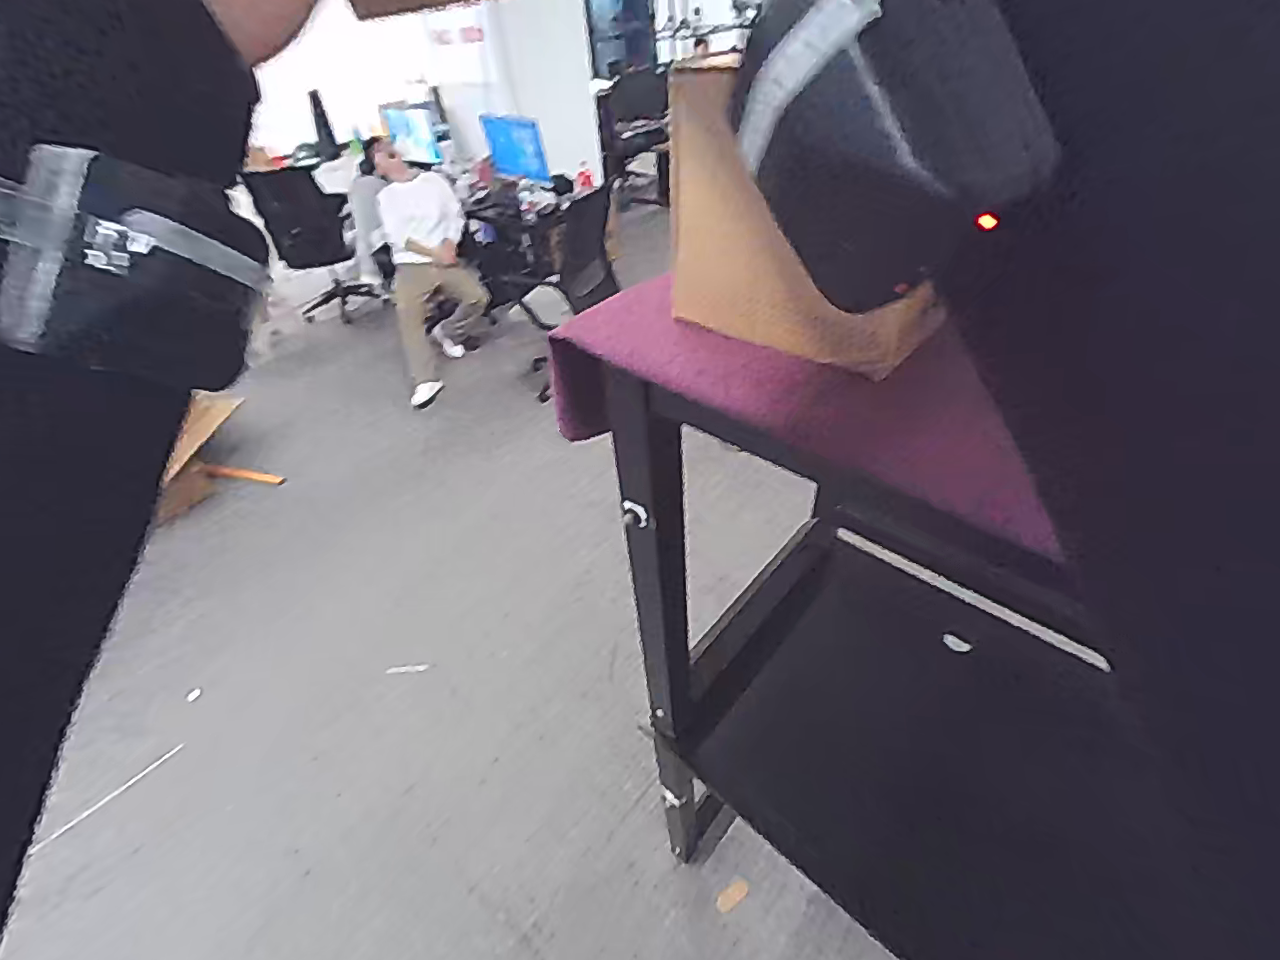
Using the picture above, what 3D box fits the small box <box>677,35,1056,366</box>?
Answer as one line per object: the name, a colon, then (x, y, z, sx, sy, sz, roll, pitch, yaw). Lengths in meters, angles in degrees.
small box: (0.144, -0.201, 0.388, 0.179, 0.176, 0.168, 28, 51, 33)
